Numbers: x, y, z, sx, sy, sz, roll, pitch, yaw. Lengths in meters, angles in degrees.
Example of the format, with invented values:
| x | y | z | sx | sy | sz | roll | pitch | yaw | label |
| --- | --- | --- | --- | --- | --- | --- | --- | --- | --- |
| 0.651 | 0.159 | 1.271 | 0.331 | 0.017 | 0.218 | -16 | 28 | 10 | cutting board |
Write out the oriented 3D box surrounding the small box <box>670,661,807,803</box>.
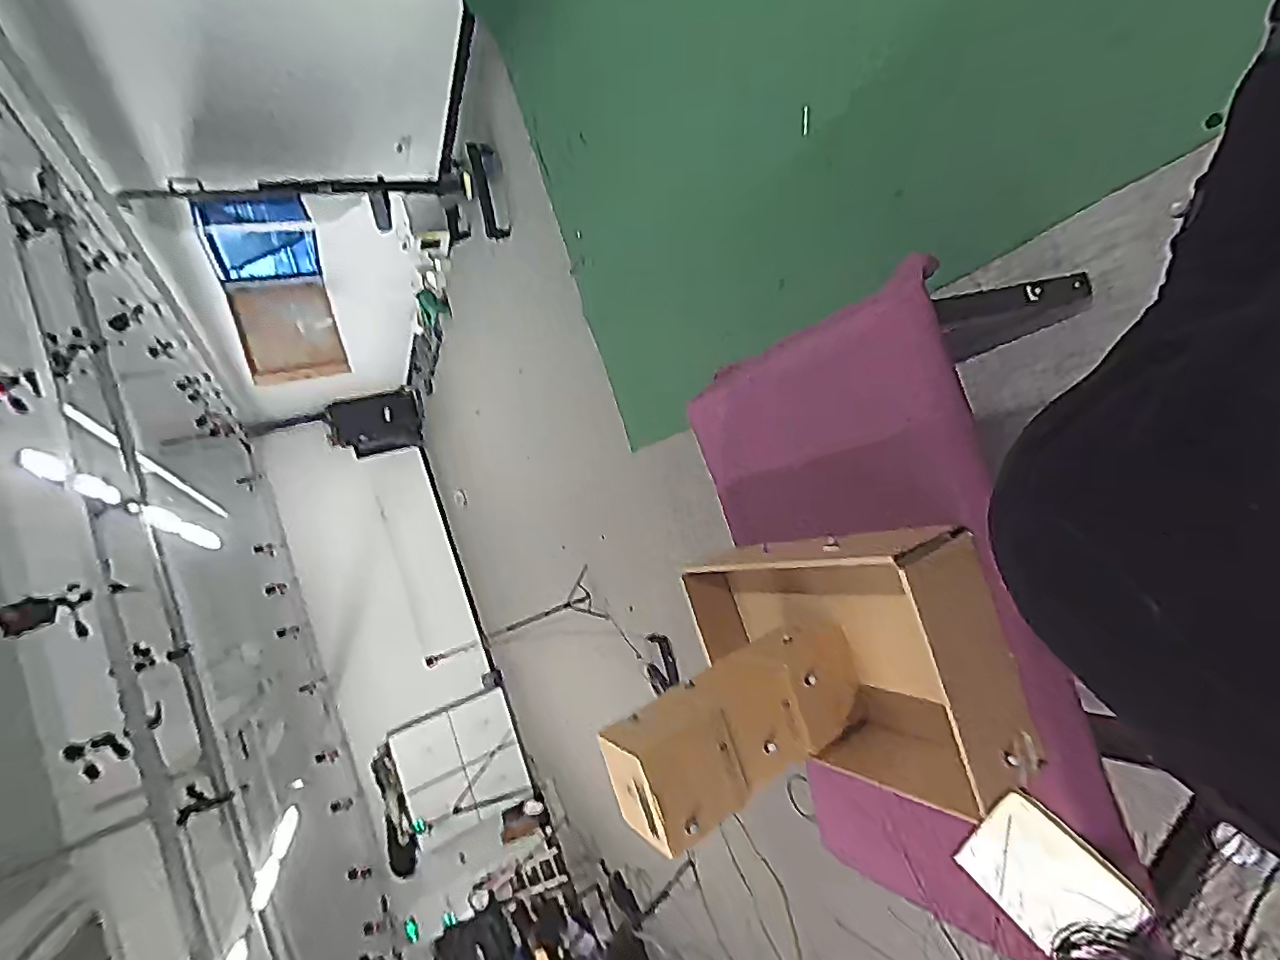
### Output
| x | y | z | sx | sy | sz | roll | pitch | yaw | label |
| --- | --- | --- | --- | --- | --- | --- | --- | --- | --- |
| 0.190 | 0.458 | 1.019 | 0.179 | 0.176 | 0.168 | -18 | 89 | 60 | small box |
